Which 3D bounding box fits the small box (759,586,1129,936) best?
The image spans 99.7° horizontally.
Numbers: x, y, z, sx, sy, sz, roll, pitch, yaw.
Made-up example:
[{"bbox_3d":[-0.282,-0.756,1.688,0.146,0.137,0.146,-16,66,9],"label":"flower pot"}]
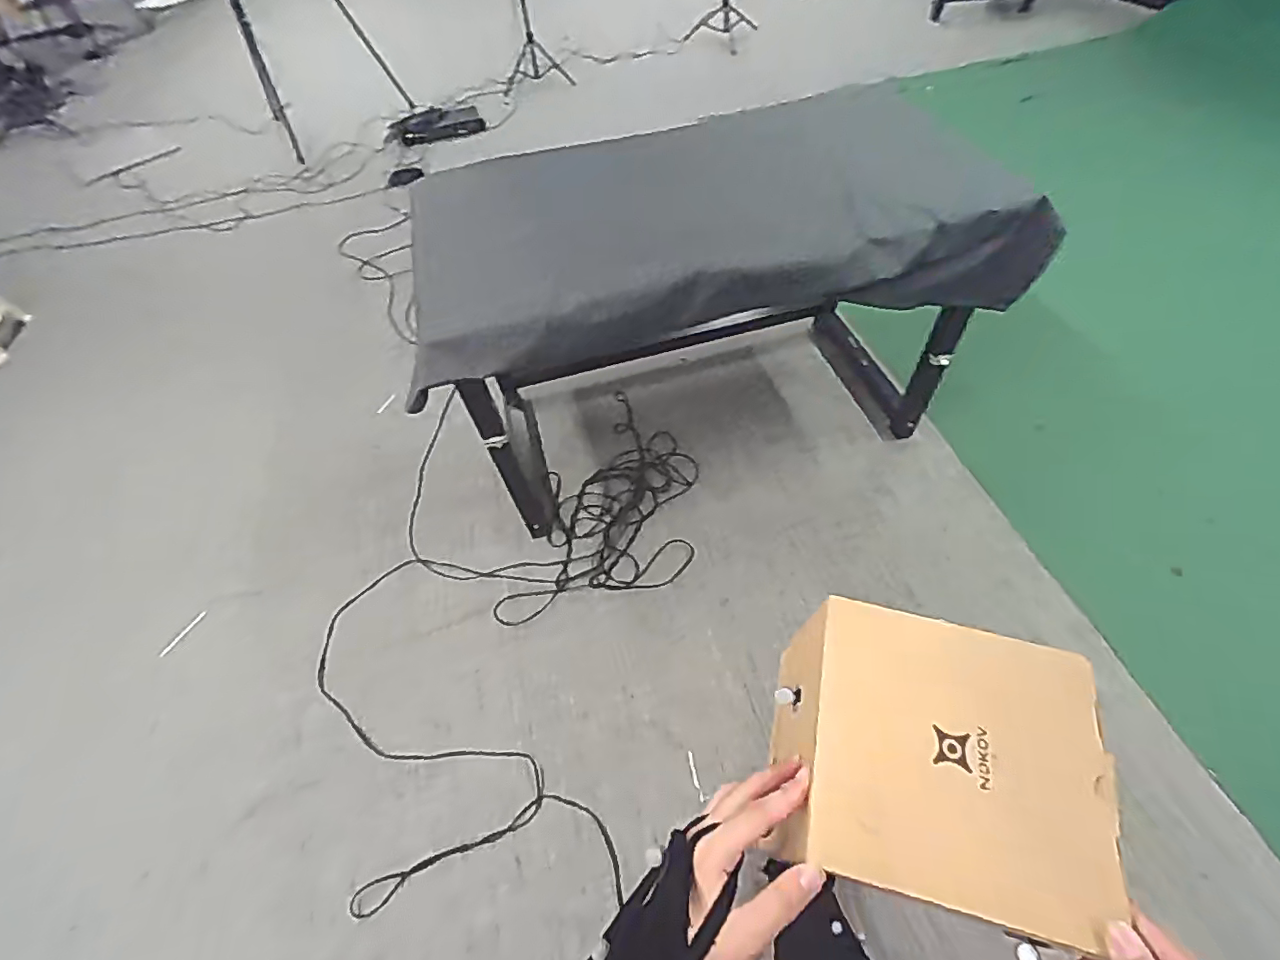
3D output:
[{"bbox_3d":[0.195,0.201,0.405,0.179,0.176,0.168,12,59,8],"label":"small box"}]
